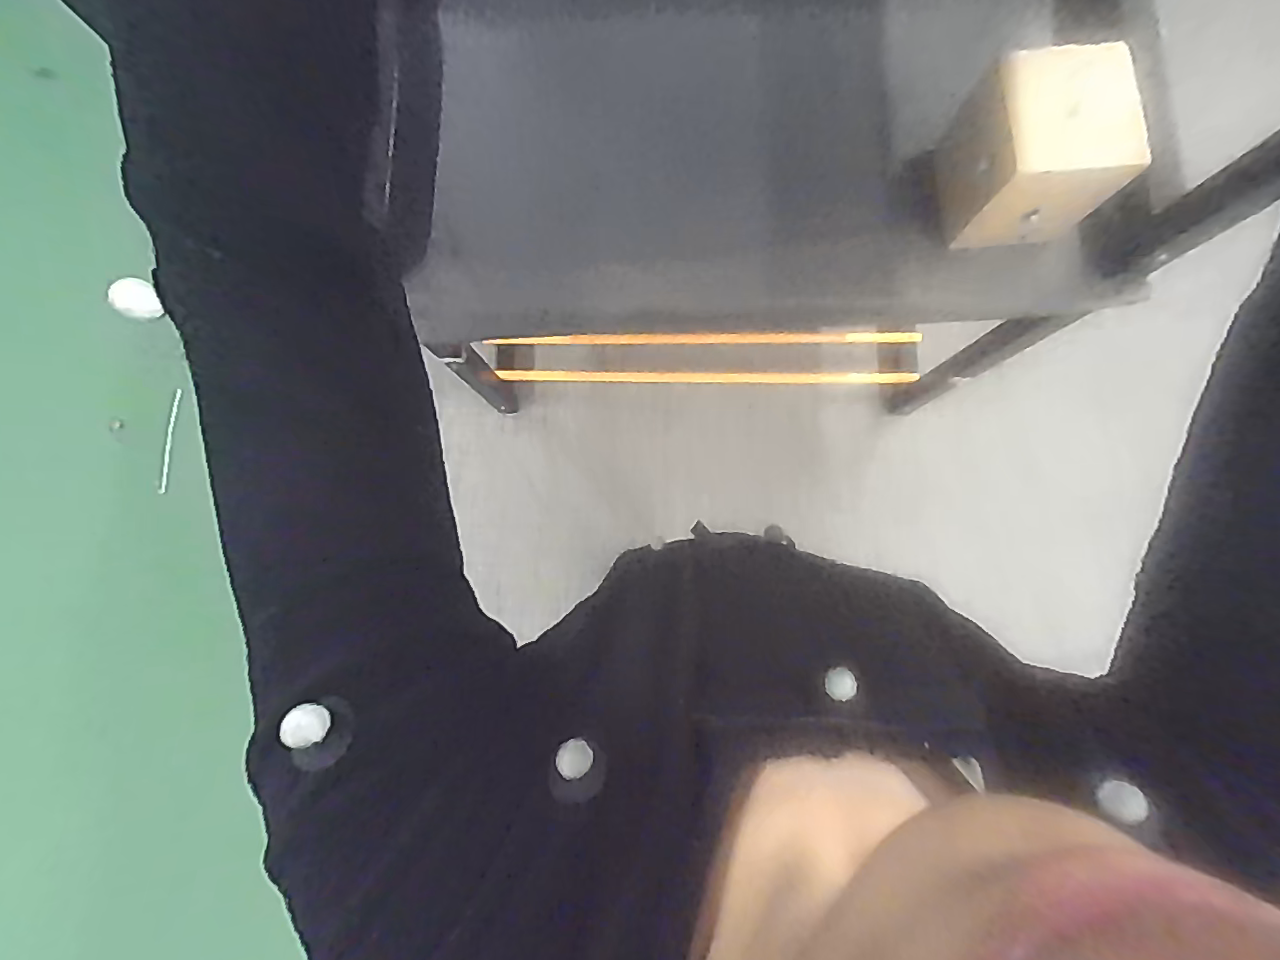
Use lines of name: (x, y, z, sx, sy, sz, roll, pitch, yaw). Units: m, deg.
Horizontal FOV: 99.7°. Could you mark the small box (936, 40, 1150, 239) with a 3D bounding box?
small box: (0.545, -0.459, 0.758, 0.168, 0.176, 0.179, -3, 81, 1)
